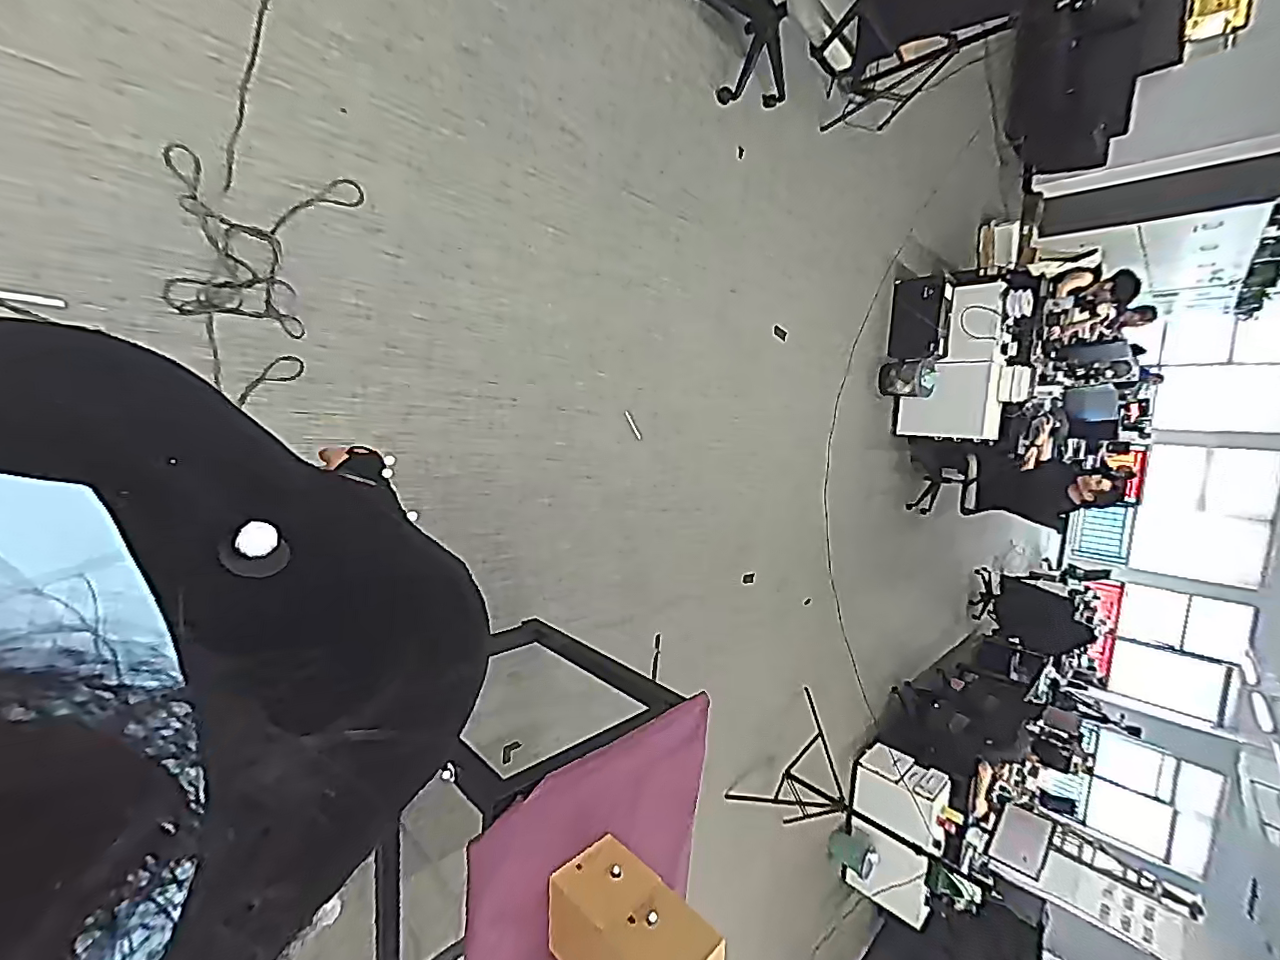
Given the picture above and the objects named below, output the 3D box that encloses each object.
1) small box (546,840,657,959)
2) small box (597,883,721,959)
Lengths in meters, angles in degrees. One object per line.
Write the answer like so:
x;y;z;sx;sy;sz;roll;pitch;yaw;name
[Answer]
-0.083;0.895;1.123;0.168;0.176;0.179;-7;103;-45;small box
0.031;0.917;1.006;0.168;0.176;0.179;-7;102;-45;small box
